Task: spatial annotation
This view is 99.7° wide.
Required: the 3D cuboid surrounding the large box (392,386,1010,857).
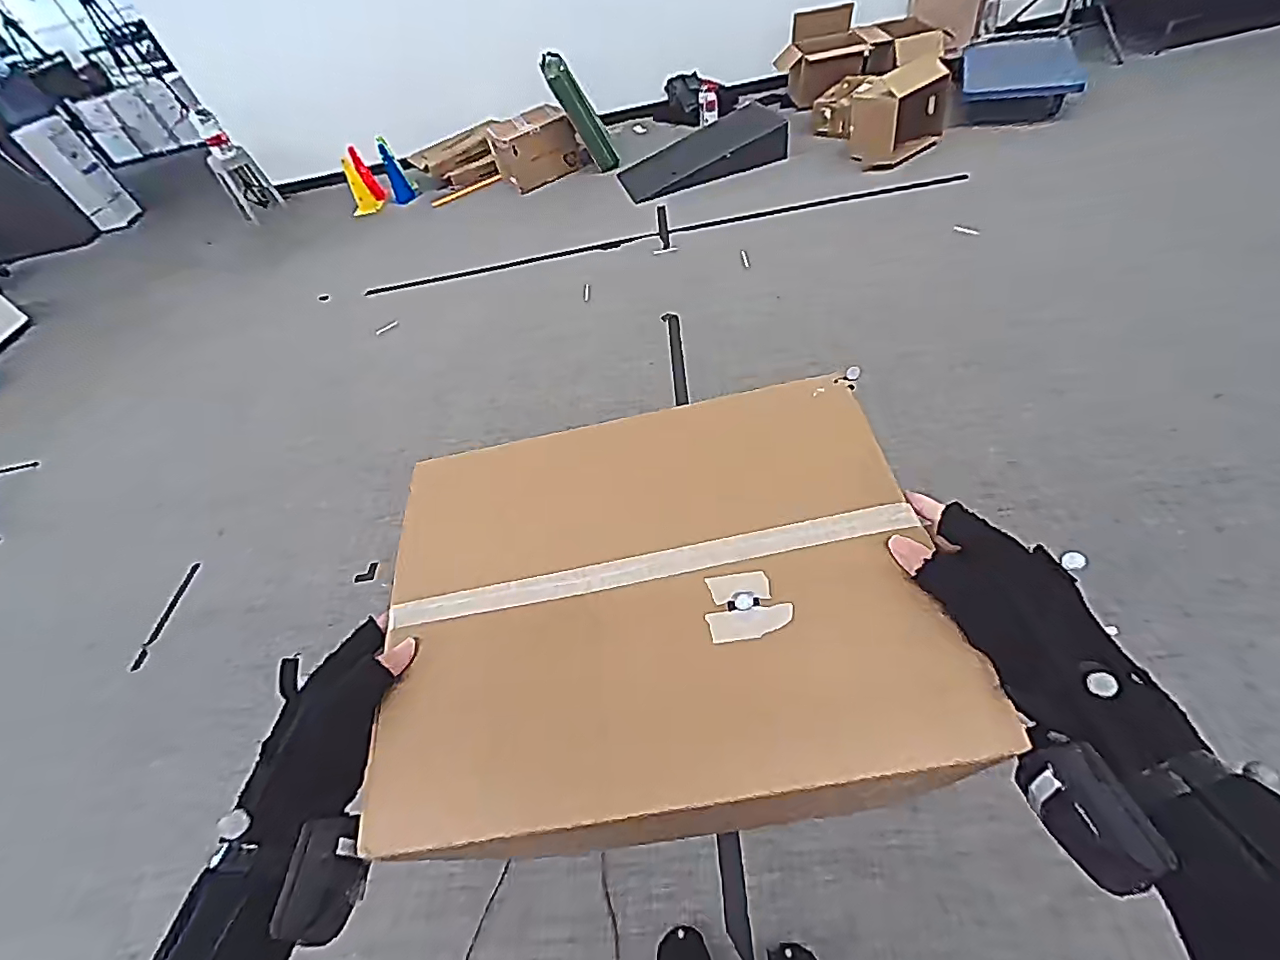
[{"bbox_3d":[0.036,0.159,0.542,0.408,0.320,0.320,-11,54,3],"label":"large box"}]
